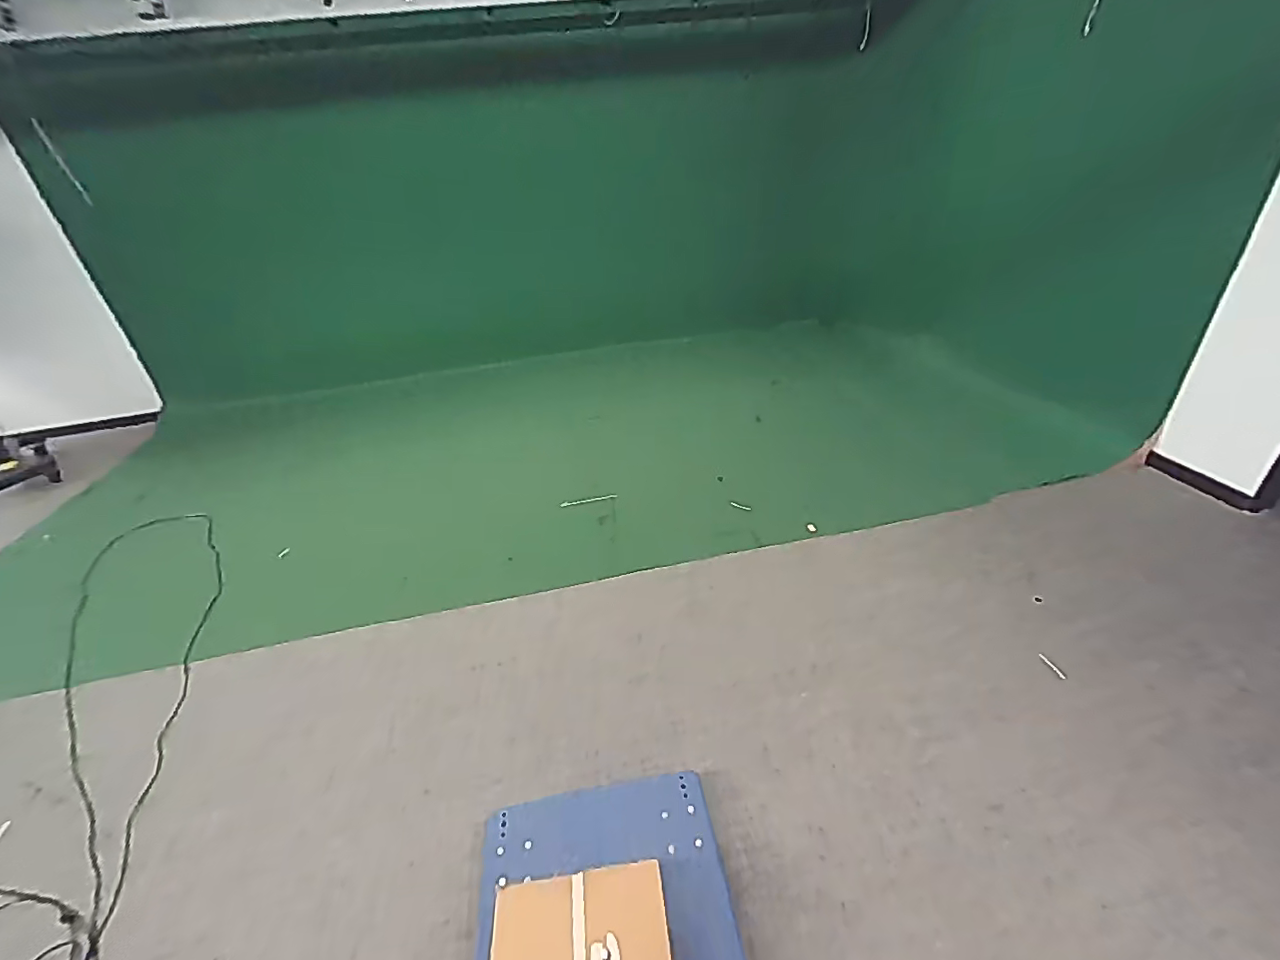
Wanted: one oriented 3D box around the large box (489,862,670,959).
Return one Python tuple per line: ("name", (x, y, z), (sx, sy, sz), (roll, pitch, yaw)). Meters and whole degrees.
("large box", (-0.085, 0.989, 0.946), (0.320, 0.320, 0.408), (-7, 31, -3))
